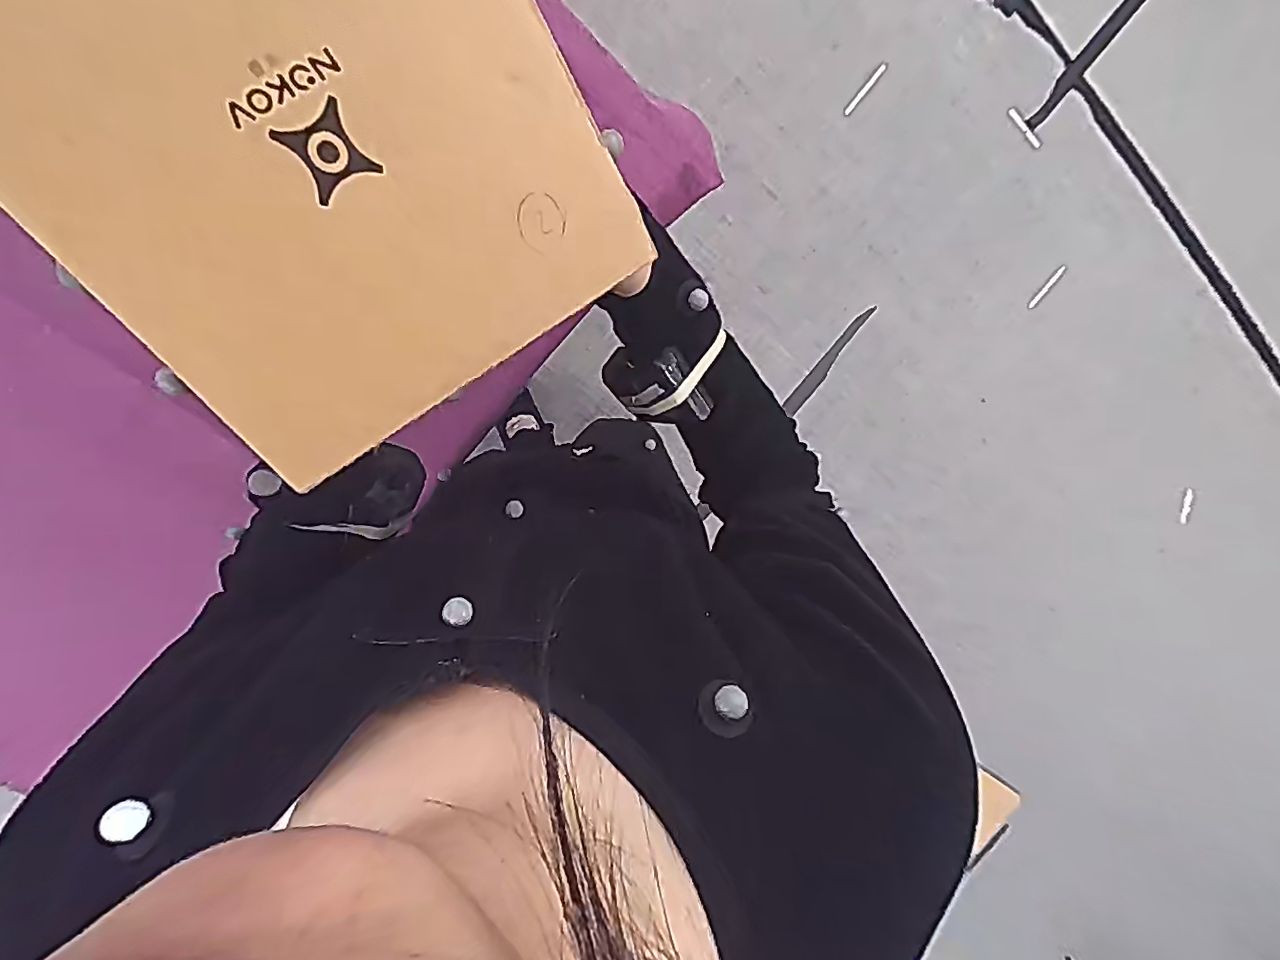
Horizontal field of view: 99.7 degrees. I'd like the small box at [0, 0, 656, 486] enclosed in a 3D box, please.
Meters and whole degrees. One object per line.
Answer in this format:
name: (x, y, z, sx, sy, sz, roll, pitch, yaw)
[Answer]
small box: (-0.123, -0.133, 0.239, 0.168, 0.176, 0.179, -35, 117, -5)
